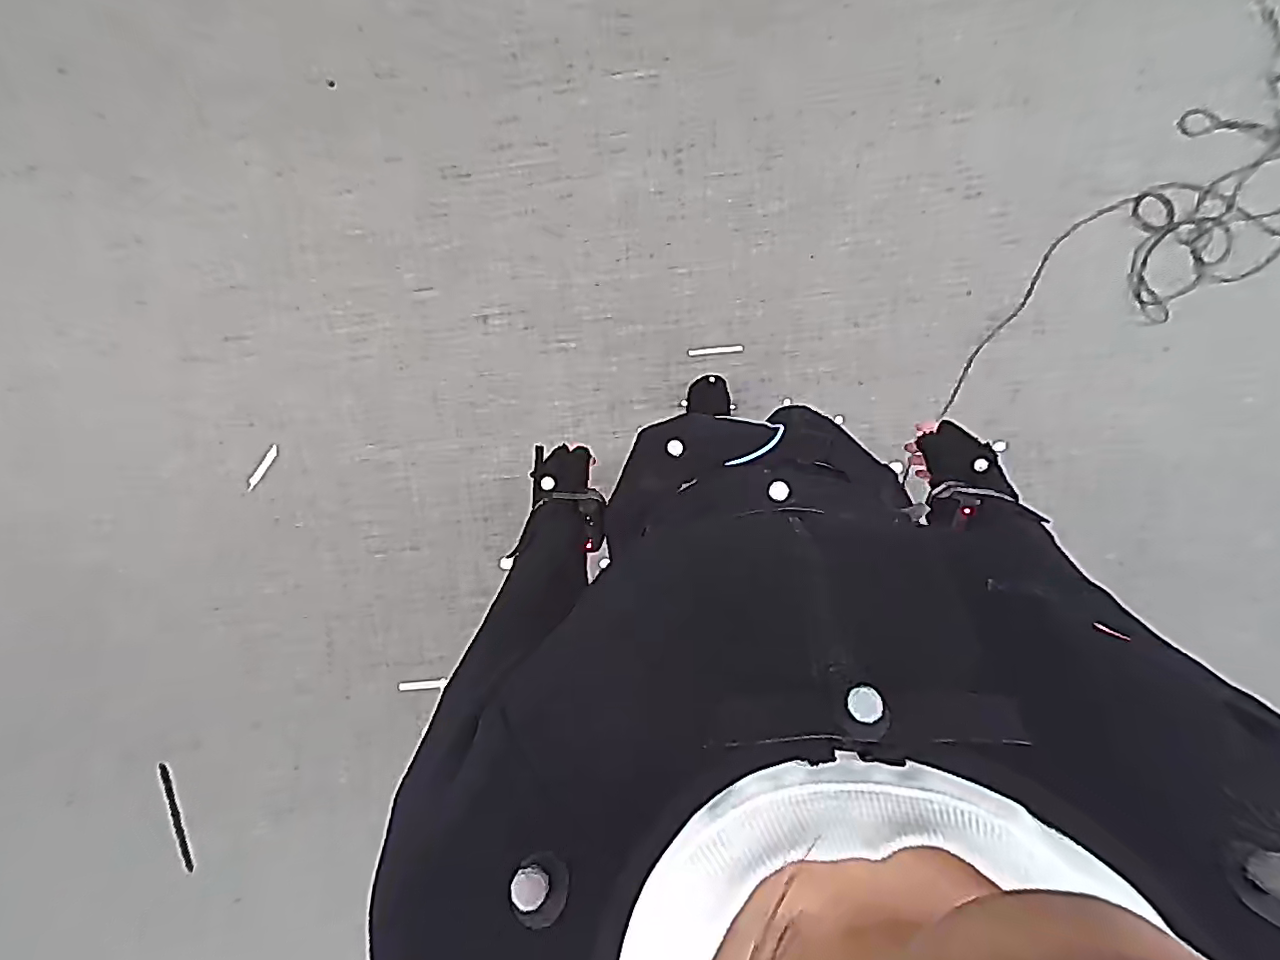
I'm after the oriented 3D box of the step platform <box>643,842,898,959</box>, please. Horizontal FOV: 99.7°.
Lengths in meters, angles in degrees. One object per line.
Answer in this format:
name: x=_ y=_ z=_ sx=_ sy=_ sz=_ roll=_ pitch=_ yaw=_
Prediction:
step platform: x=0.352 y=1.229 z=1.526 sx=0.684 sy=0.204 sz=0.286 roll=-5 pitch=98 yaw=7
